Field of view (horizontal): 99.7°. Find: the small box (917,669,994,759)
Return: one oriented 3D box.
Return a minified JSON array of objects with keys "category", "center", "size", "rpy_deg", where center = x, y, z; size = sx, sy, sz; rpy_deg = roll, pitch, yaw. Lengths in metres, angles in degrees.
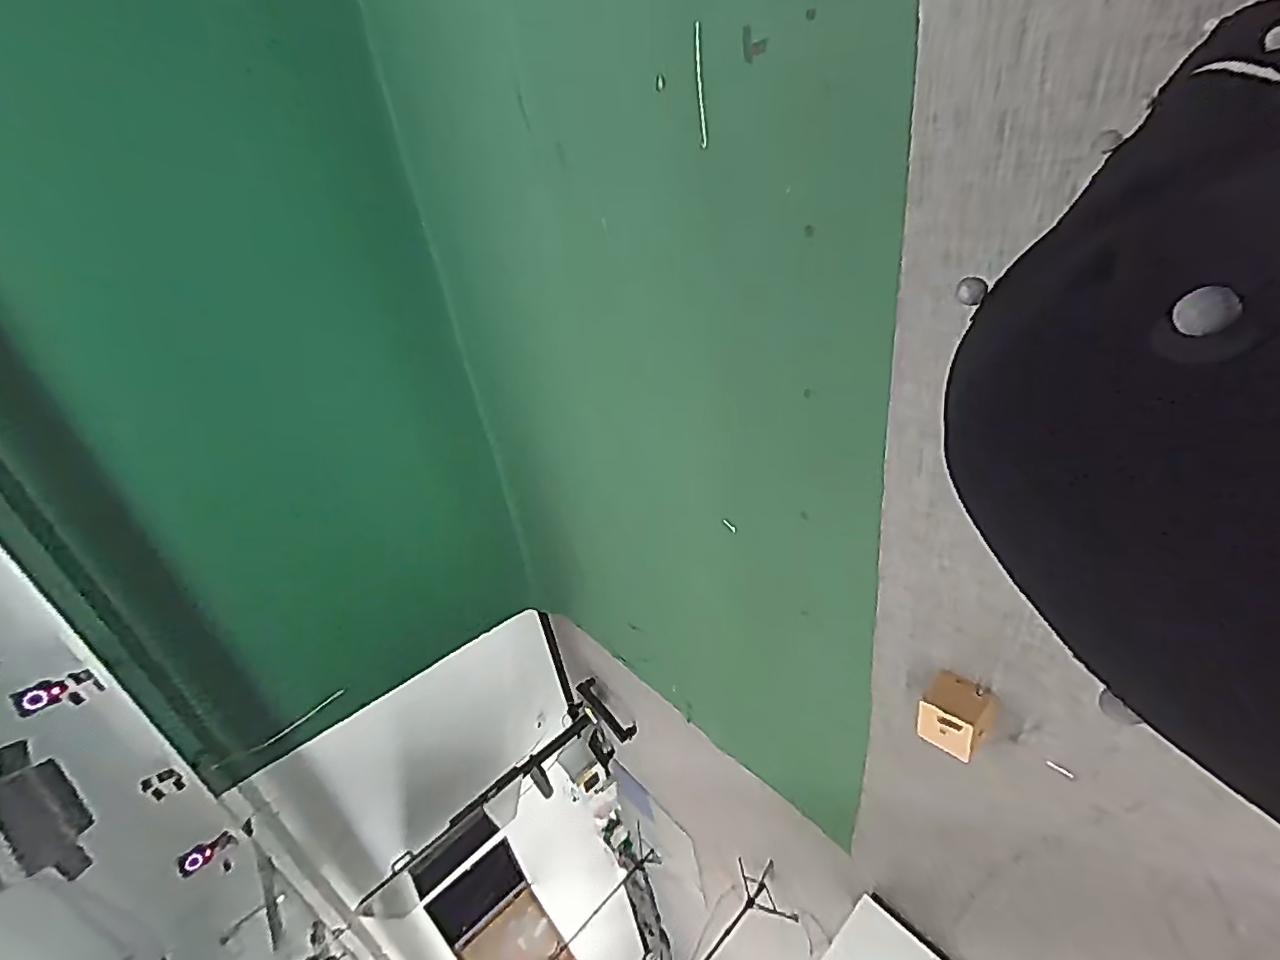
[{"category":"small box","center":[1.047,0.768,1.794],"size":[0.168,0.176,0.179],"rpy_deg":[22,131,47]}]
